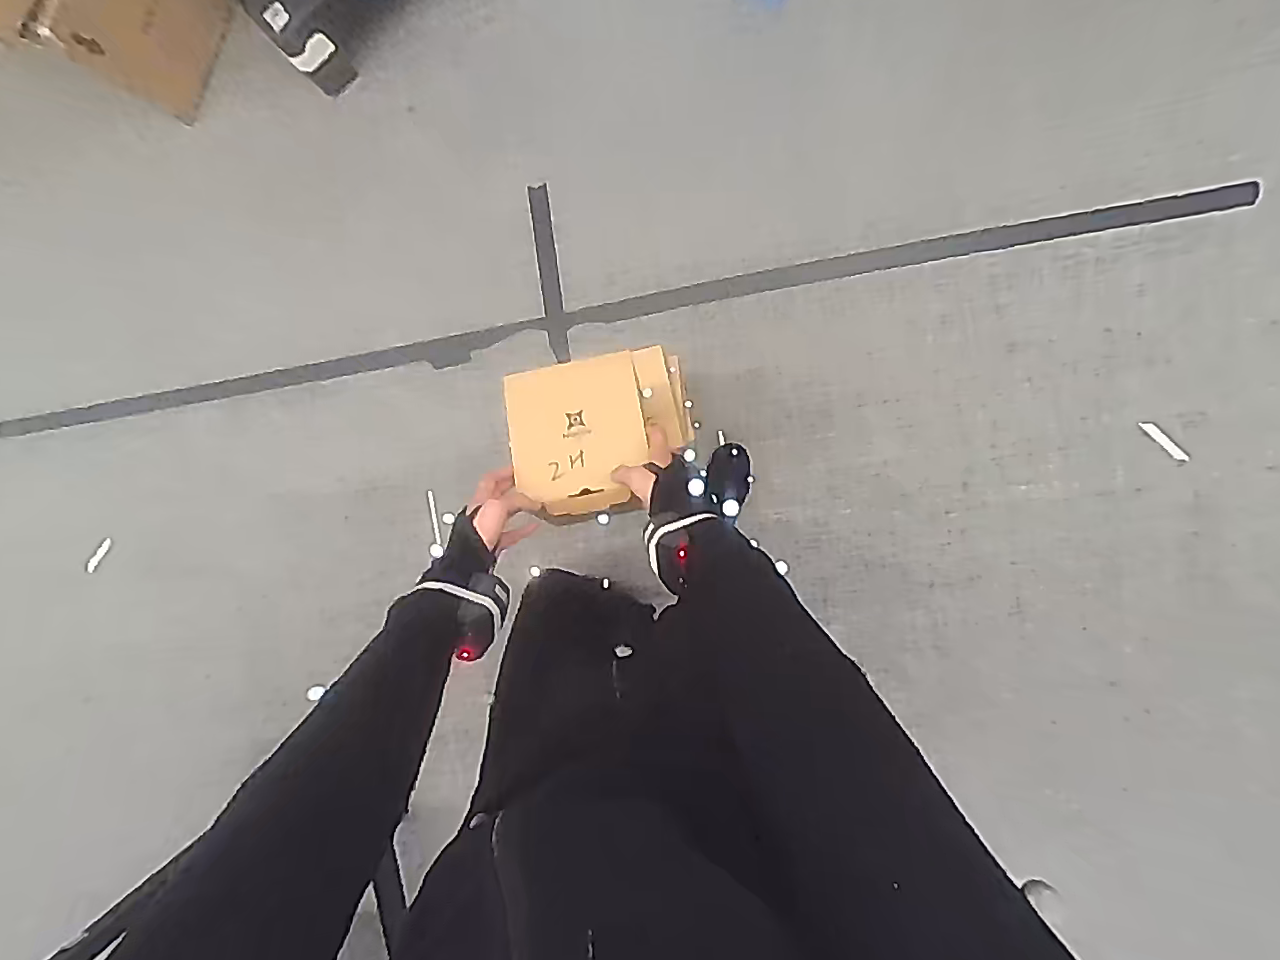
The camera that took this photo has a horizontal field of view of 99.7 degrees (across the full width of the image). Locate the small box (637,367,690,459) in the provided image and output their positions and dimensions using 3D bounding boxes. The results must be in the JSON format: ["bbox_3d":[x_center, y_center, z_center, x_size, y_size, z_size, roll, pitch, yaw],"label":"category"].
[{"bbox_3d":[0.017,-0.134,1.146,0.168,0.176,0.179,-6,95,7],"label":"small box"}]

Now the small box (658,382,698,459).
[{"bbox_3d":[0.042,-0.139,1.307,0.179,0.176,0.168,-10,94,9],"label":"small box"}]

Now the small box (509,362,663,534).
[{"bbox_3d":[-0.066,-0.033,0.737,0.168,0.176,0.179,-11,77,4],"label":"small box"}]
